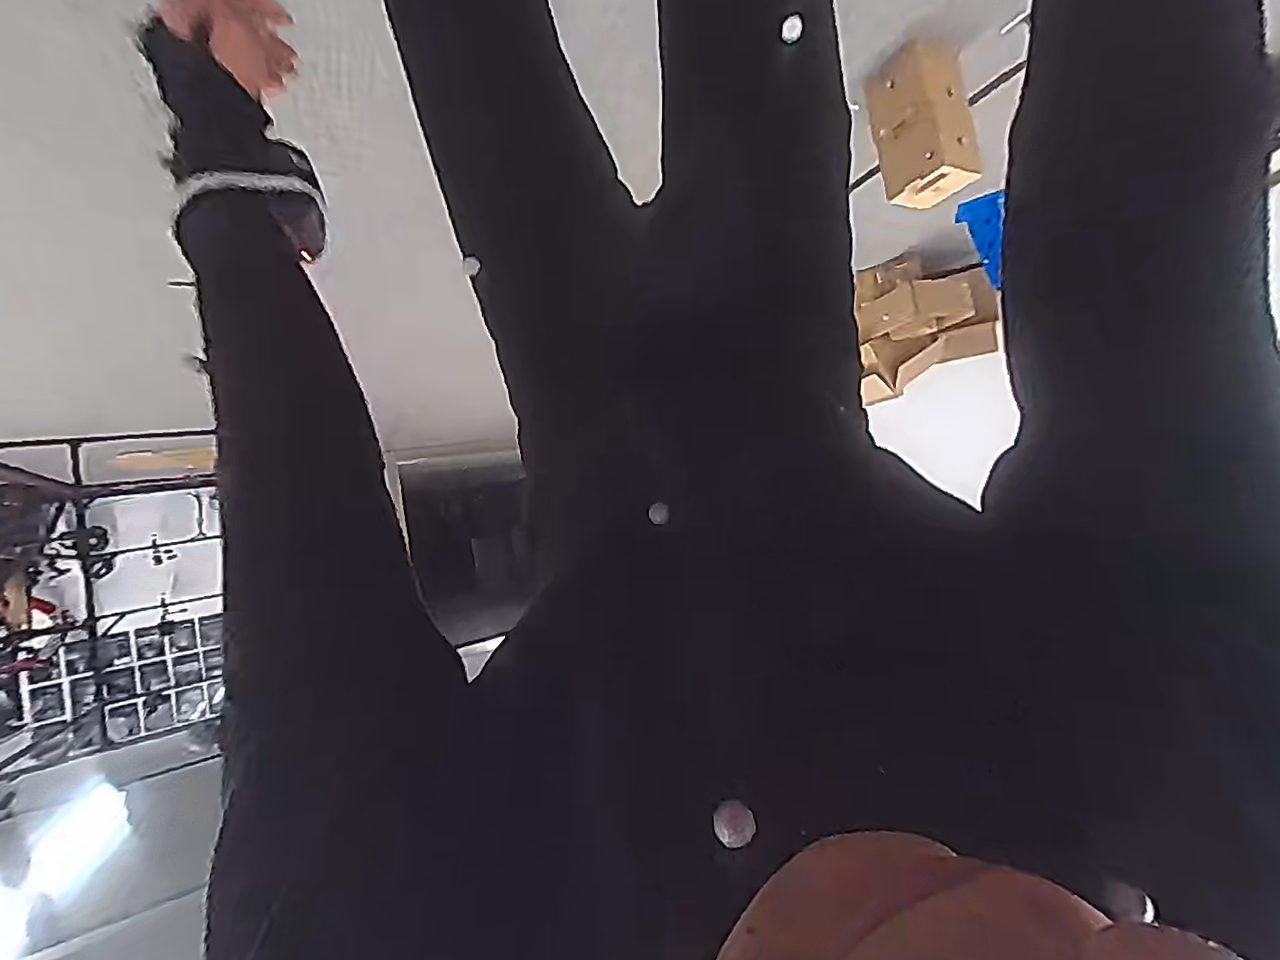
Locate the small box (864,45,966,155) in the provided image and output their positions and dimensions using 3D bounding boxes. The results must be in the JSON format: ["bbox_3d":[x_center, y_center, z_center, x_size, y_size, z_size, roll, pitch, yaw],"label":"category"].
[{"bbox_3d":[0.736,-1.017,1.452,0.179,0.176,0.168,-7,177,-26],"label":"small box"}]
